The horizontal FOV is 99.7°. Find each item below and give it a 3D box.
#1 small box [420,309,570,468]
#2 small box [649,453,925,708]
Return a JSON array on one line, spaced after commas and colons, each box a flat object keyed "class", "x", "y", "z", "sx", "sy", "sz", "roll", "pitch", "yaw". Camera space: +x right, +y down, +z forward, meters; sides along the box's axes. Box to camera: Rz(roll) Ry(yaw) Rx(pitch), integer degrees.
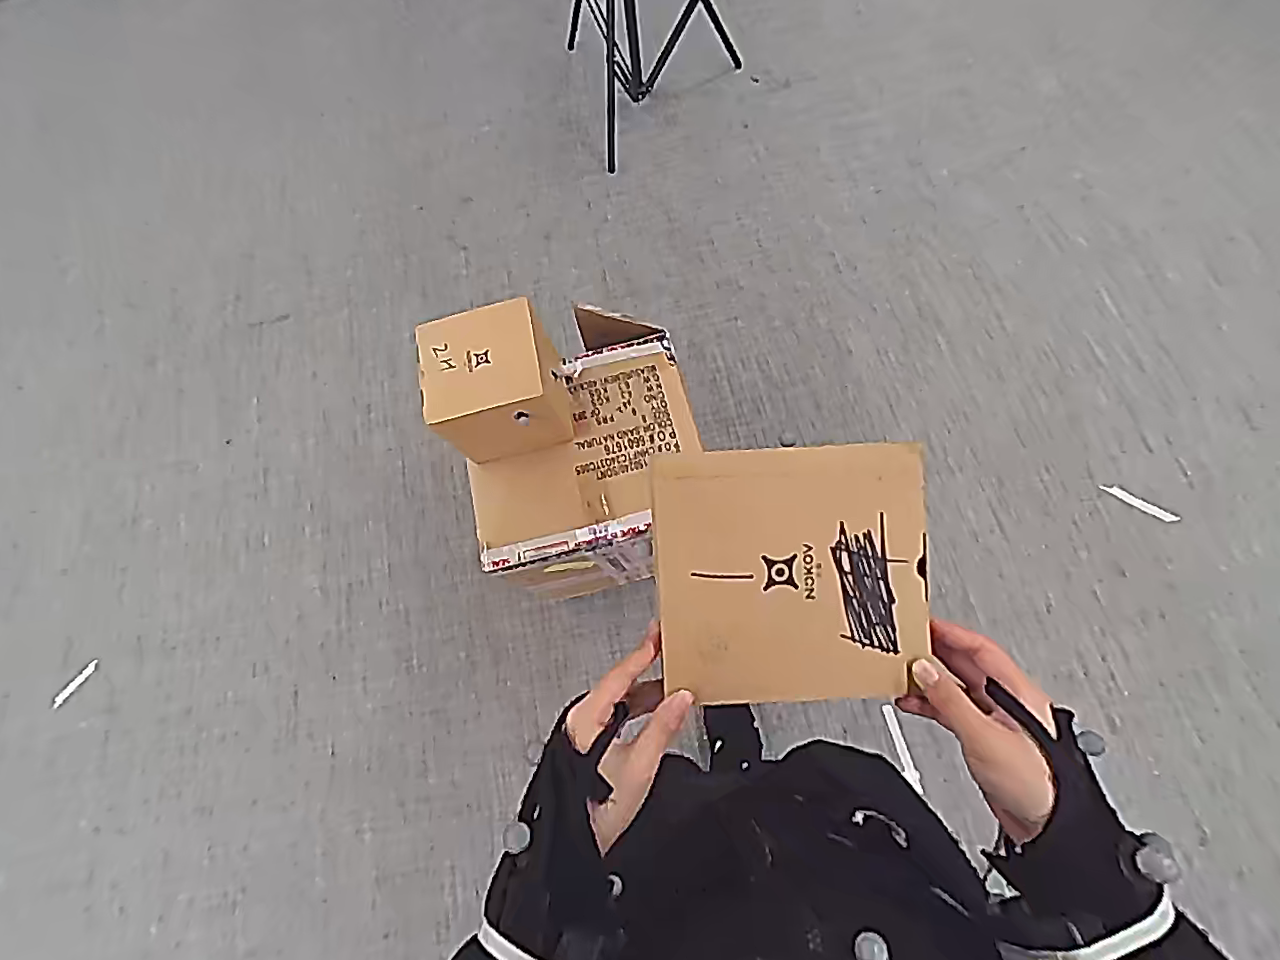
[{"class": "small box", "x": -0.217, "y": -0.134, "z": 0.849, "sx": 0.179, "sy": 0.176, "sz": 0.168, "roll": -14, "pitch": 71, "yaw": 4}, {"class": "small box", "x": 0.098, "y": 0.066, "z": 0.436, "sx": 0.179, "sy": 0.176, "sz": 0.168, "roll": -3, "pitch": 89, "yaw": 1}]
